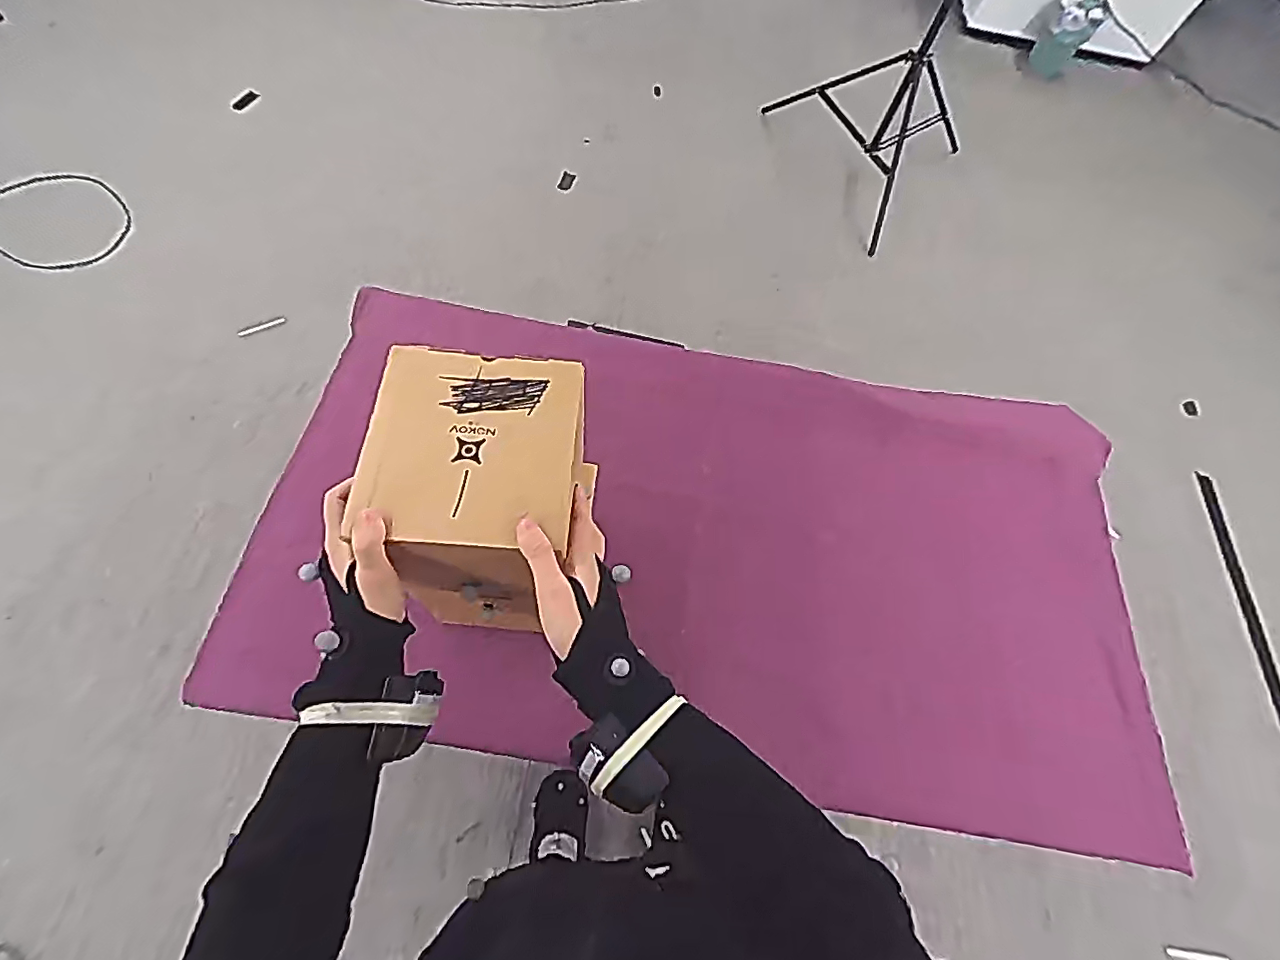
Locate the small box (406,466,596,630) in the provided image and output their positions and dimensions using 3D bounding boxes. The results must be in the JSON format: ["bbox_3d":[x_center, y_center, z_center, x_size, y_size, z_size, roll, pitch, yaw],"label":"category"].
[{"bbox_3d":[-0.152,0.081,0.654,0.179,0.176,0.168,7,65,-3],"label":"small box"}]

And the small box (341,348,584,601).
[{"bbox_3d":[-0.143,0.004,0.508,0.168,0.176,0.179,4,65,-4],"label":"small box"}]
